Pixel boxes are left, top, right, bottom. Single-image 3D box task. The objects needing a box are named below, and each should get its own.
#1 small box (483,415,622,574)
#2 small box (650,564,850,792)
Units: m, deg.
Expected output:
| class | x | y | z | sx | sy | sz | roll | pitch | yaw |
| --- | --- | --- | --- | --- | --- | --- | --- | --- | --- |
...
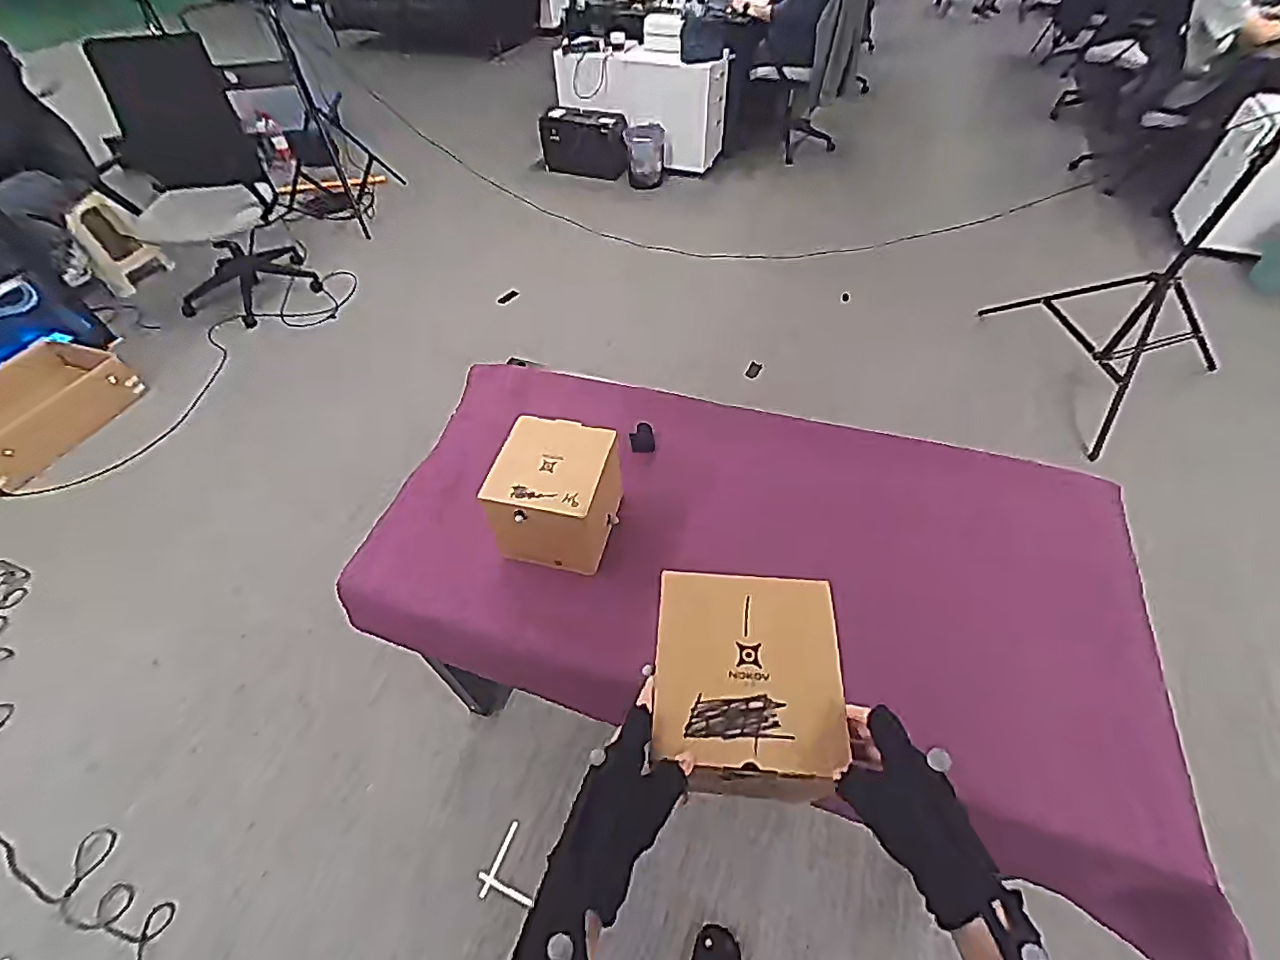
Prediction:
| class | x | y | z | sx | sy | sz | roll | pitch | yaw |
| --- | --- | --- | --- | --- | --- | --- | --- | --- | --- |
| small box | -0.129 | 0.024 | 0.878 | 0.168 | 0.176 | 0.179 | 10 | 51 | 10 |
| small box | 0.100 | 0.206 | 0.553 | 0.168 | 0.176 | 0.179 | 3 | 53 | 4 |
